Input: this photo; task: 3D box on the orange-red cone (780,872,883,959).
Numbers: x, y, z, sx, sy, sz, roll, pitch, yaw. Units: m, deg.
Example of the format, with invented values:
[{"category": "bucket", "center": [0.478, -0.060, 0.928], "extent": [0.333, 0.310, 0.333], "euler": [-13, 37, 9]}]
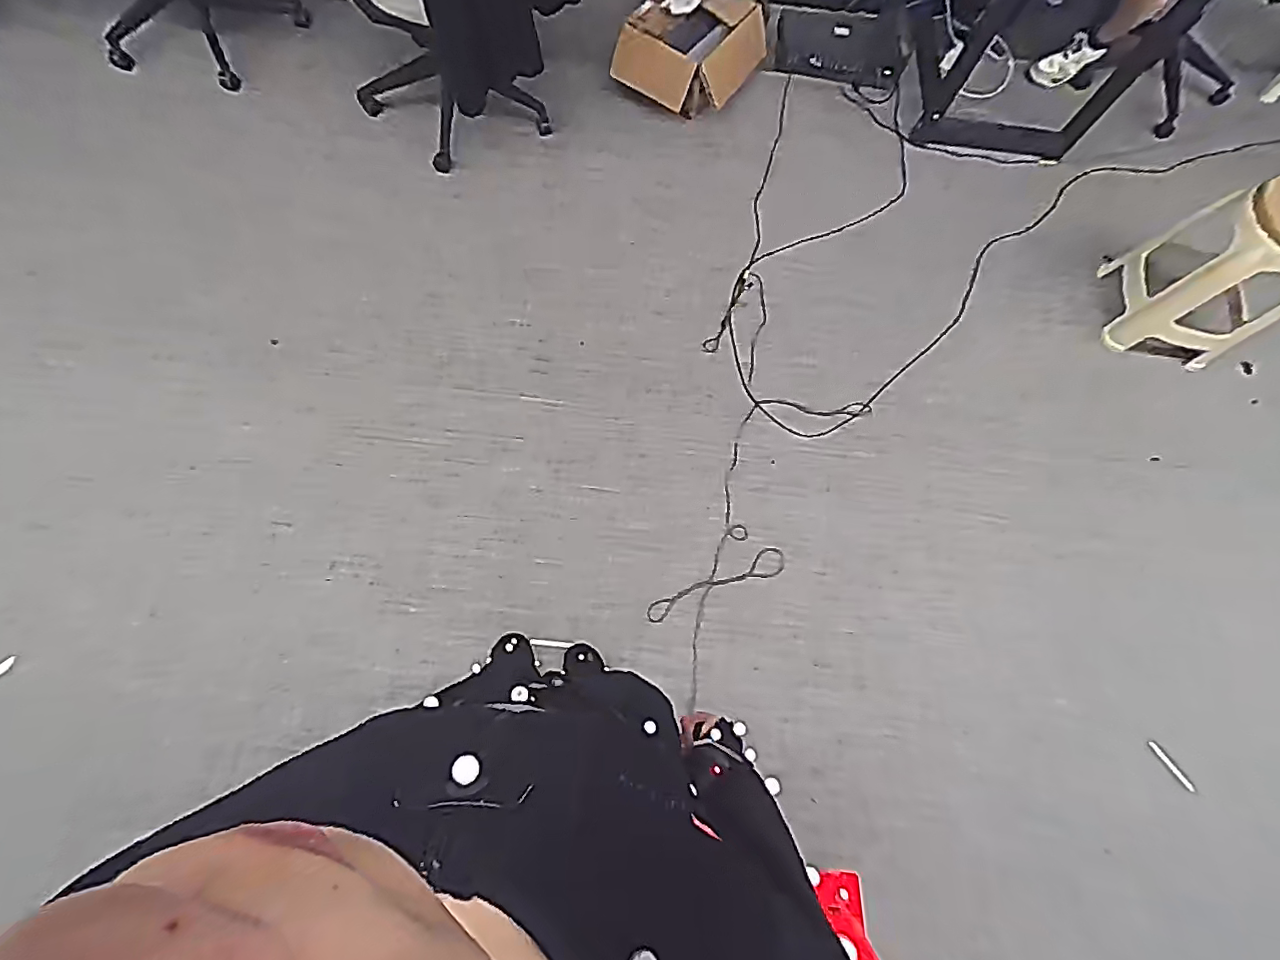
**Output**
[{"category": "orange-red cone", "center": [0.424, 0.939, 1.046], "extent": [0.199, 0.360, 0.198], "euler": [1, 71, -3]}]
